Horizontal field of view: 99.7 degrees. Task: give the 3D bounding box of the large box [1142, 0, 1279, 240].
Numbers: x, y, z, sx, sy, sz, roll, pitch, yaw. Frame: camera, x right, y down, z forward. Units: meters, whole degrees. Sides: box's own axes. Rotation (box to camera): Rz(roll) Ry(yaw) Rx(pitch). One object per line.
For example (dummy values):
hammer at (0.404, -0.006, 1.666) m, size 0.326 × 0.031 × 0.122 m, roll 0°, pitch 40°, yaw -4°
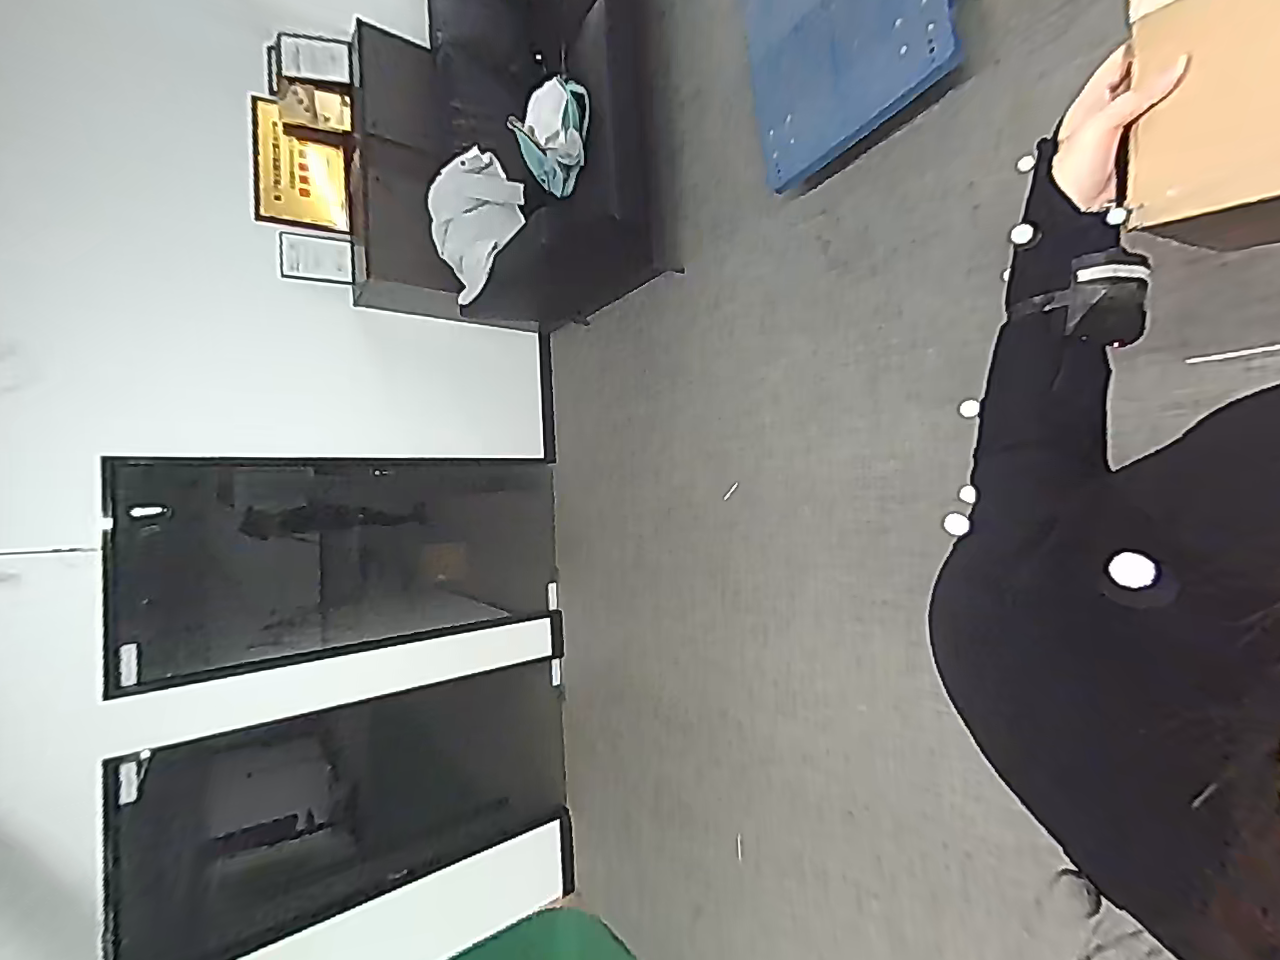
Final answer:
large box at (0.614, -0.367, 0.320) m, size 0.408 × 0.320 × 0.320 m, roll 6°, pitch 105°, yaw 57°
